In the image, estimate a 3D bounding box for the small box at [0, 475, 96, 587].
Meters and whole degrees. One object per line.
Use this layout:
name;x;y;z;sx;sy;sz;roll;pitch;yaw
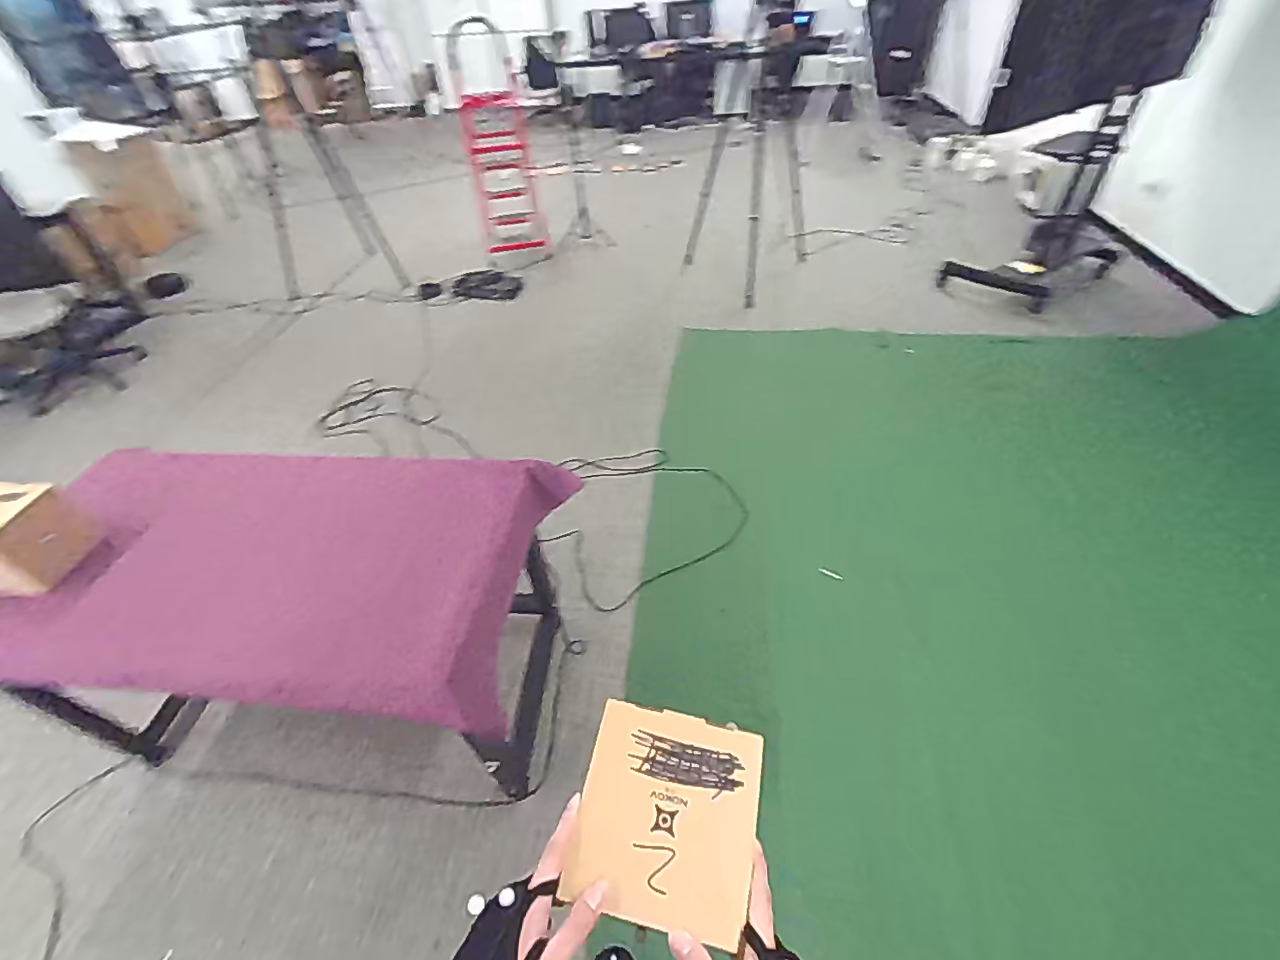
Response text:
small box;-1.352;0.109;1.168;0.168;0.176;0.179;1;45;5
